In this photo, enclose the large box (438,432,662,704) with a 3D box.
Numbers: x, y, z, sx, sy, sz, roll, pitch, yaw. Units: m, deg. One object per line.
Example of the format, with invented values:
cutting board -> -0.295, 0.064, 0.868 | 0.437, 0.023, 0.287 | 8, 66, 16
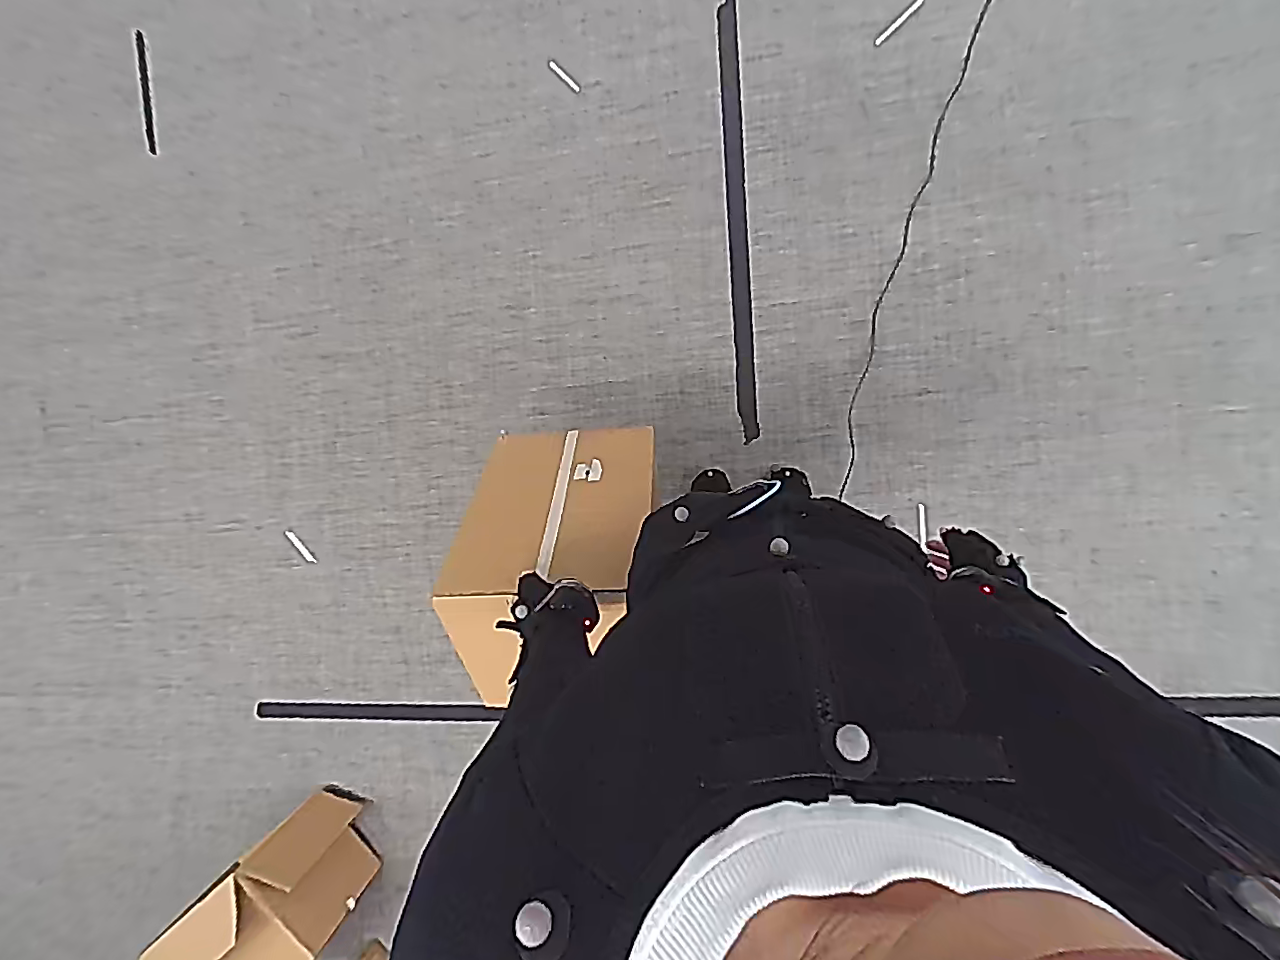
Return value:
large box -> -0.124, 0.155, 1.016 | 0.320, 0.408, 0.320 | -2, 128, 5
